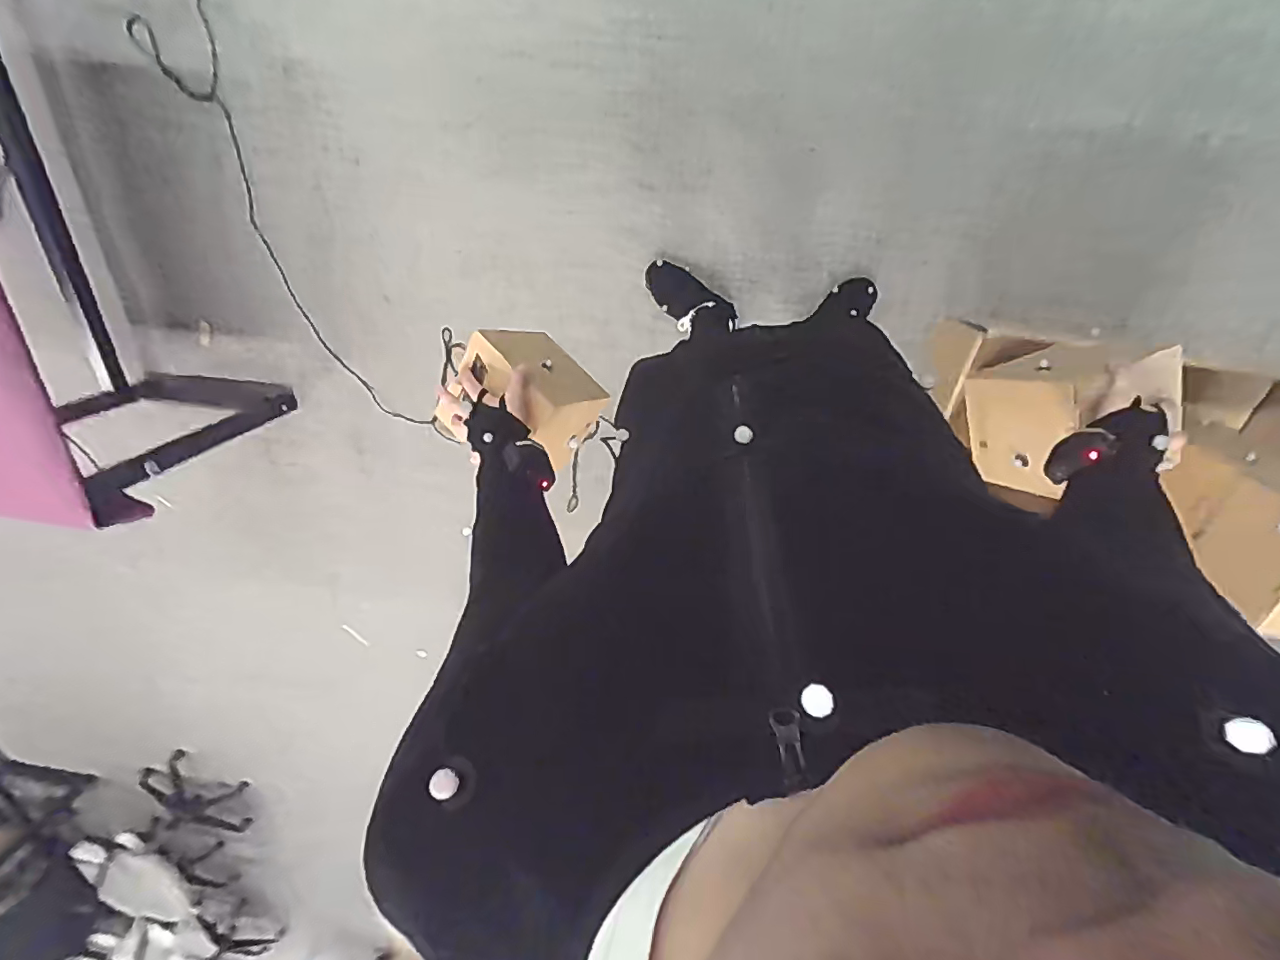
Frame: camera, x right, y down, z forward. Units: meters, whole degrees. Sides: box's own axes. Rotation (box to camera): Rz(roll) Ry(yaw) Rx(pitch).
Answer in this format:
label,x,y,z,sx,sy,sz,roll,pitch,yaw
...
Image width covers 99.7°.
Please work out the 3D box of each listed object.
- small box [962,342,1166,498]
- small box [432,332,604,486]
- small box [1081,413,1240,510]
label,x,y,z,sx,sy,sz,roll,pitch,yaw
small box,0.595,-0.092,0.777,0.179,0.176,0.168,-20,106,-11
small box,-0.195,-0.119,0.883,0.179,0.176,0.168,44,118,12
small box,0.958,-0.036,1.031,0.179,0.176,0.168,11,117,5
